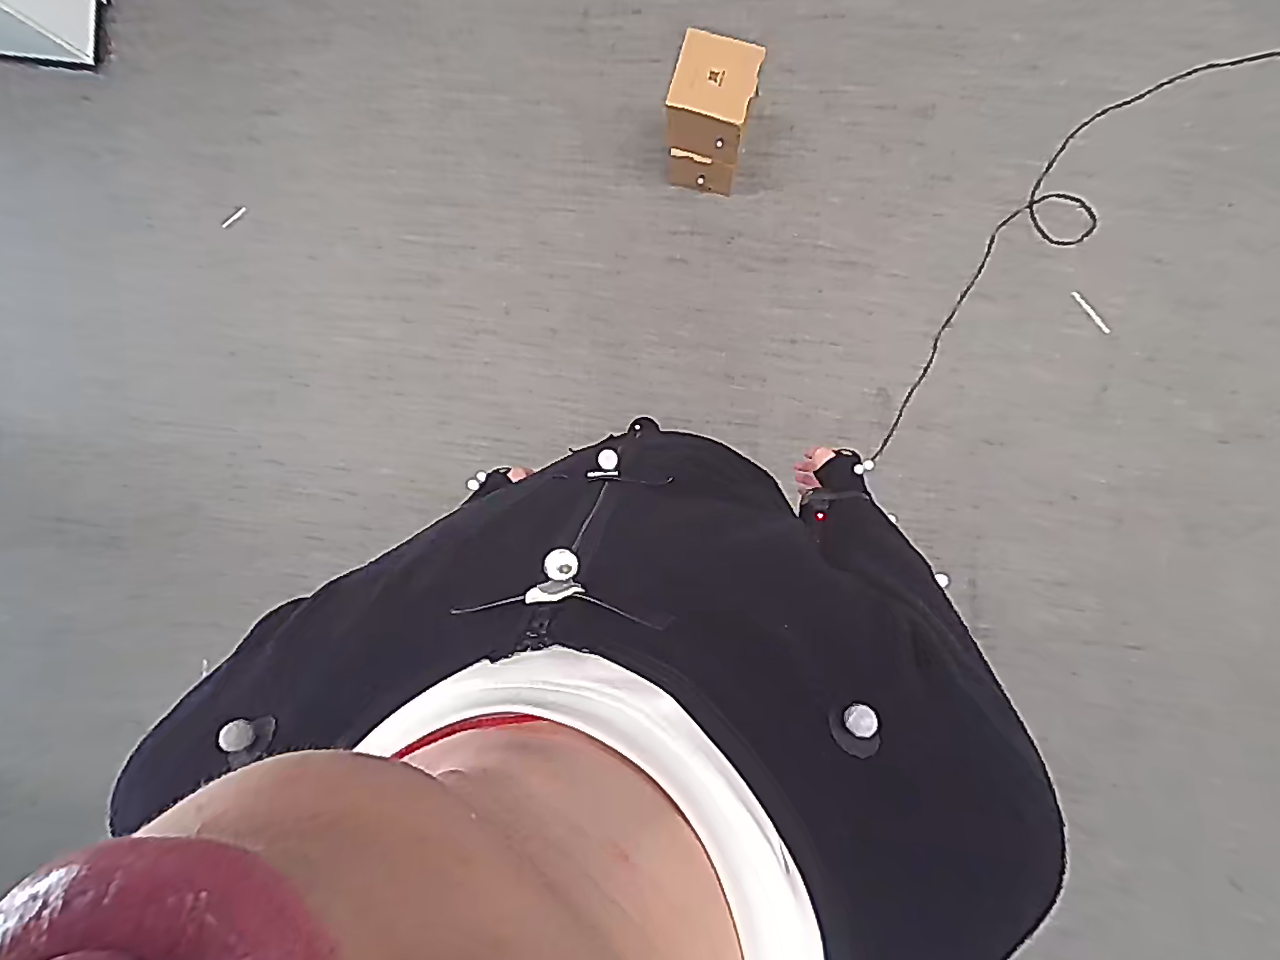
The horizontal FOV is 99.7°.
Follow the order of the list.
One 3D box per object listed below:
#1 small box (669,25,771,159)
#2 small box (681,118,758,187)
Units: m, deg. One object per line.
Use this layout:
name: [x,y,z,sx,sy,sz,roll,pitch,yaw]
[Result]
small box: [0.178,-0.869,1.229,0.179,0.176,0.168,19,94,5]
small box: [0.192,-0.887,1.383,0.179,0.176,0.168,-16,91,8]
